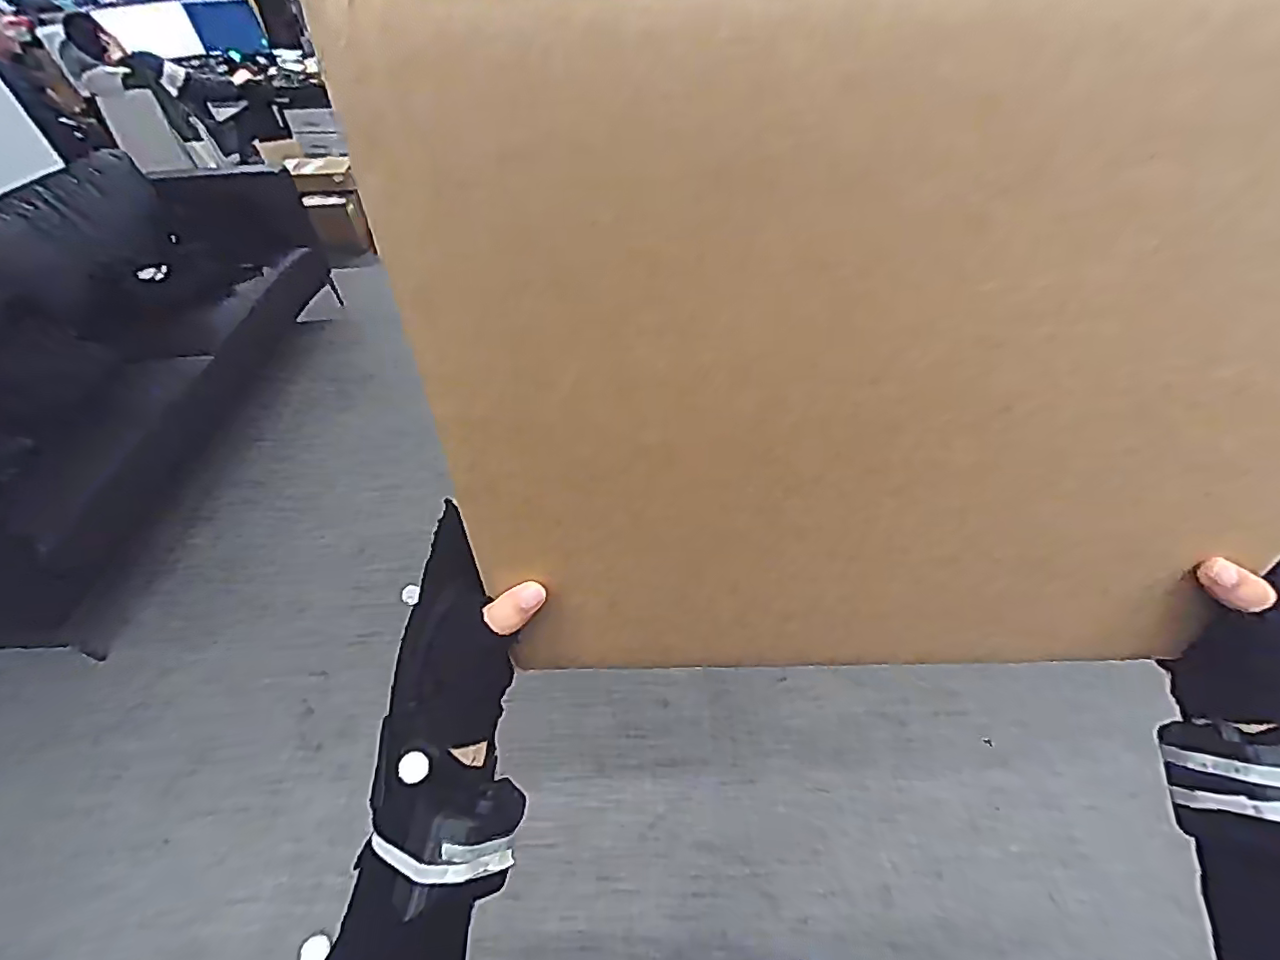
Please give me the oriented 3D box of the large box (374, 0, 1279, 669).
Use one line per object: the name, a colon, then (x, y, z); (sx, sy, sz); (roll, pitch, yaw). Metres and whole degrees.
large box: (0.120, -0.099, 0.352); (0.408, 0.320, 0.320); (-1, 39, -1)
